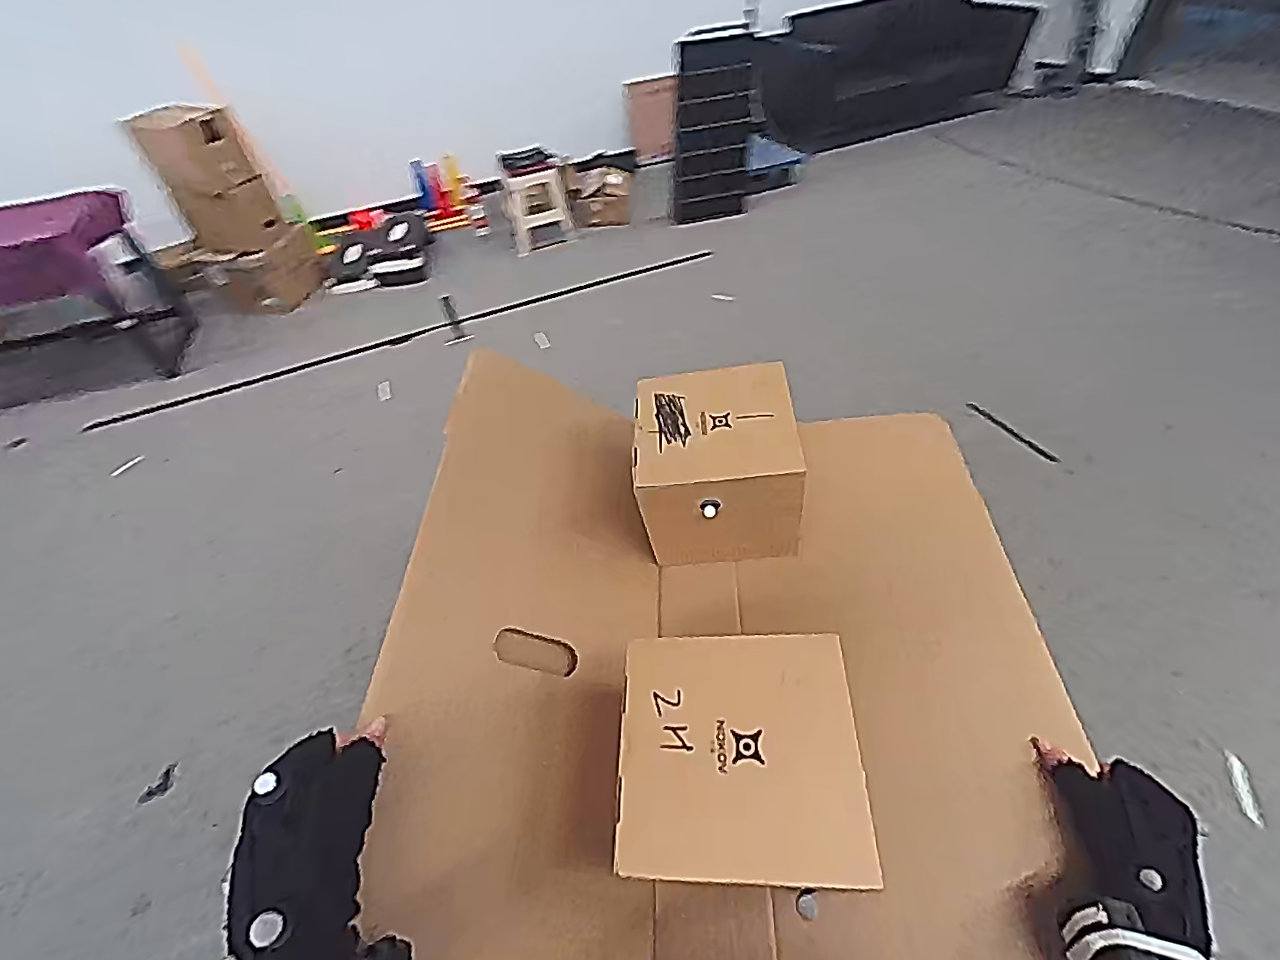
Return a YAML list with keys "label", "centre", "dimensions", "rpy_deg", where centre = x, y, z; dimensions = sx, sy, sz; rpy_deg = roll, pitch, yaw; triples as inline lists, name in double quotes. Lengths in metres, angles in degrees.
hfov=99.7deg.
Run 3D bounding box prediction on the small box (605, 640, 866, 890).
- label: "small box"
  centre: [0.078, 0.248, 0.471]
  dimensions: [0.179, 0.176, 0.168]
  rpy_deg: [-5, 53, 10]
